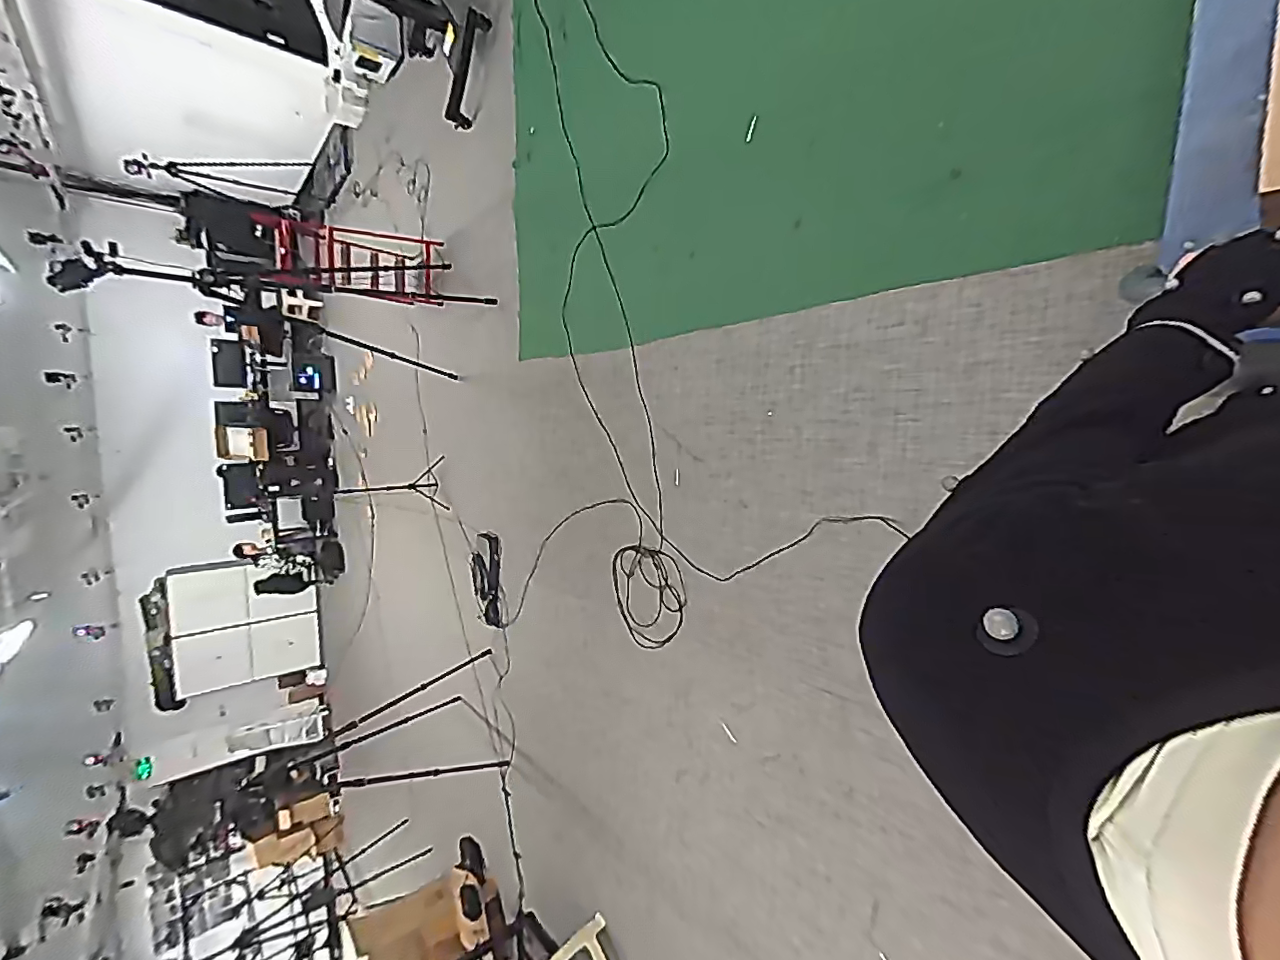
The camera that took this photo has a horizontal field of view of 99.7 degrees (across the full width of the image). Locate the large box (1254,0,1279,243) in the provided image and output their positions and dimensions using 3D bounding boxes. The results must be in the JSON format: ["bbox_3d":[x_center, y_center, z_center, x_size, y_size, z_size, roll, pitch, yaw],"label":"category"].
[{"bbox_3d":[1.113,-0.606,0.754,0.320,0.320,0.408,6,98,49],"label":"large box"}]
